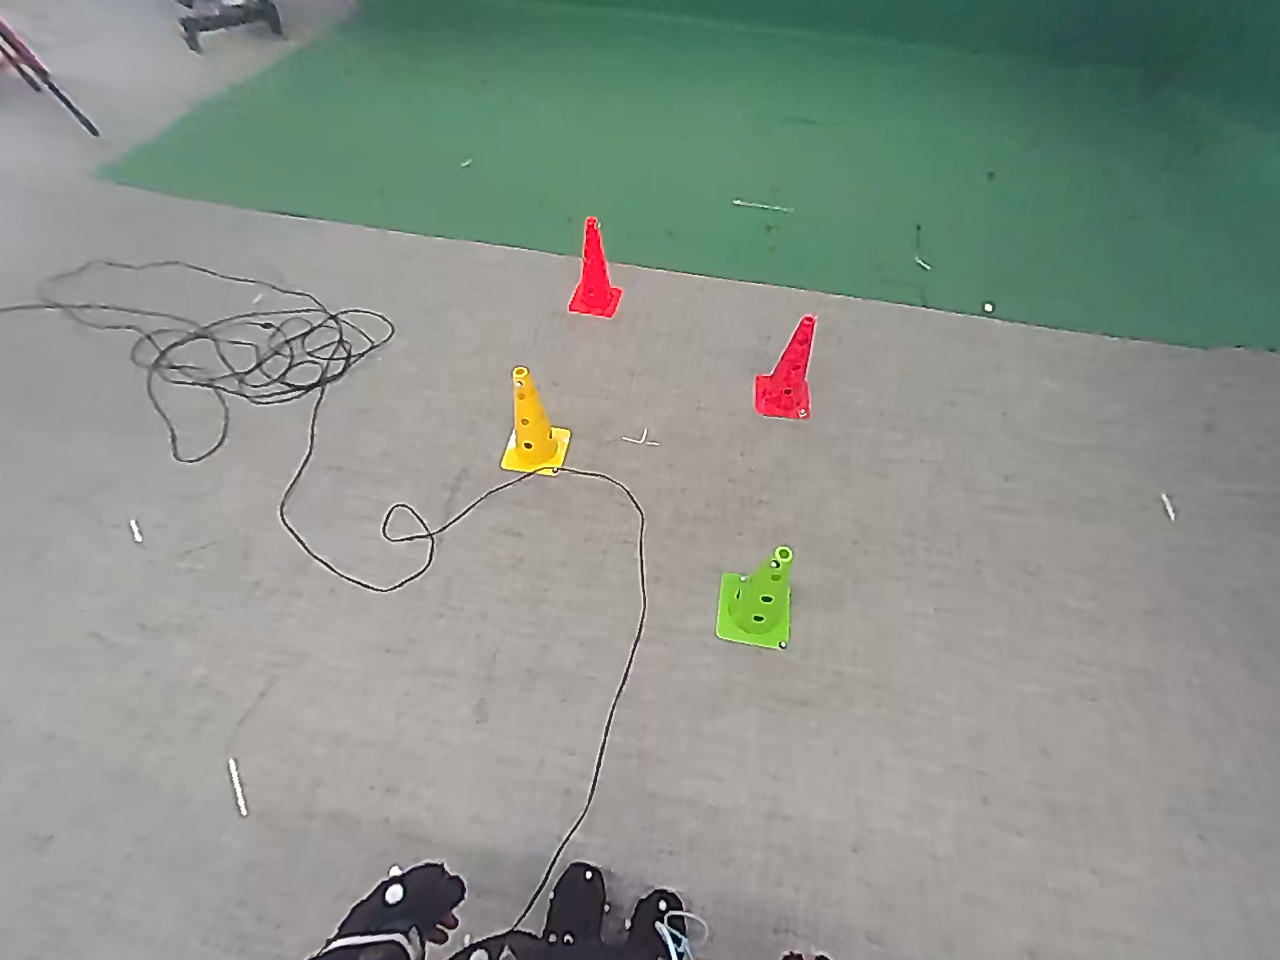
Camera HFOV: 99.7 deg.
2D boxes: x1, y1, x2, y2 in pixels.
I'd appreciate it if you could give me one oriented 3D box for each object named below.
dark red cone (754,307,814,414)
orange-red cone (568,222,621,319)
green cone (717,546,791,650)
[{"bbox_3d":[0.523,-0.415,1.844,0.202,0.394,0.201,6,54,2],"label":"dark red cone"},{"bbox_3d":[-0.191,-0.851,2.157,0.198,0.360,0.199,10,56,6],"label":"orange-red cone"},{"bbox_3d":[0.324,0.270,1.387,0.202,0.368,0.200,8,55,6],"label":"green cone"}]
